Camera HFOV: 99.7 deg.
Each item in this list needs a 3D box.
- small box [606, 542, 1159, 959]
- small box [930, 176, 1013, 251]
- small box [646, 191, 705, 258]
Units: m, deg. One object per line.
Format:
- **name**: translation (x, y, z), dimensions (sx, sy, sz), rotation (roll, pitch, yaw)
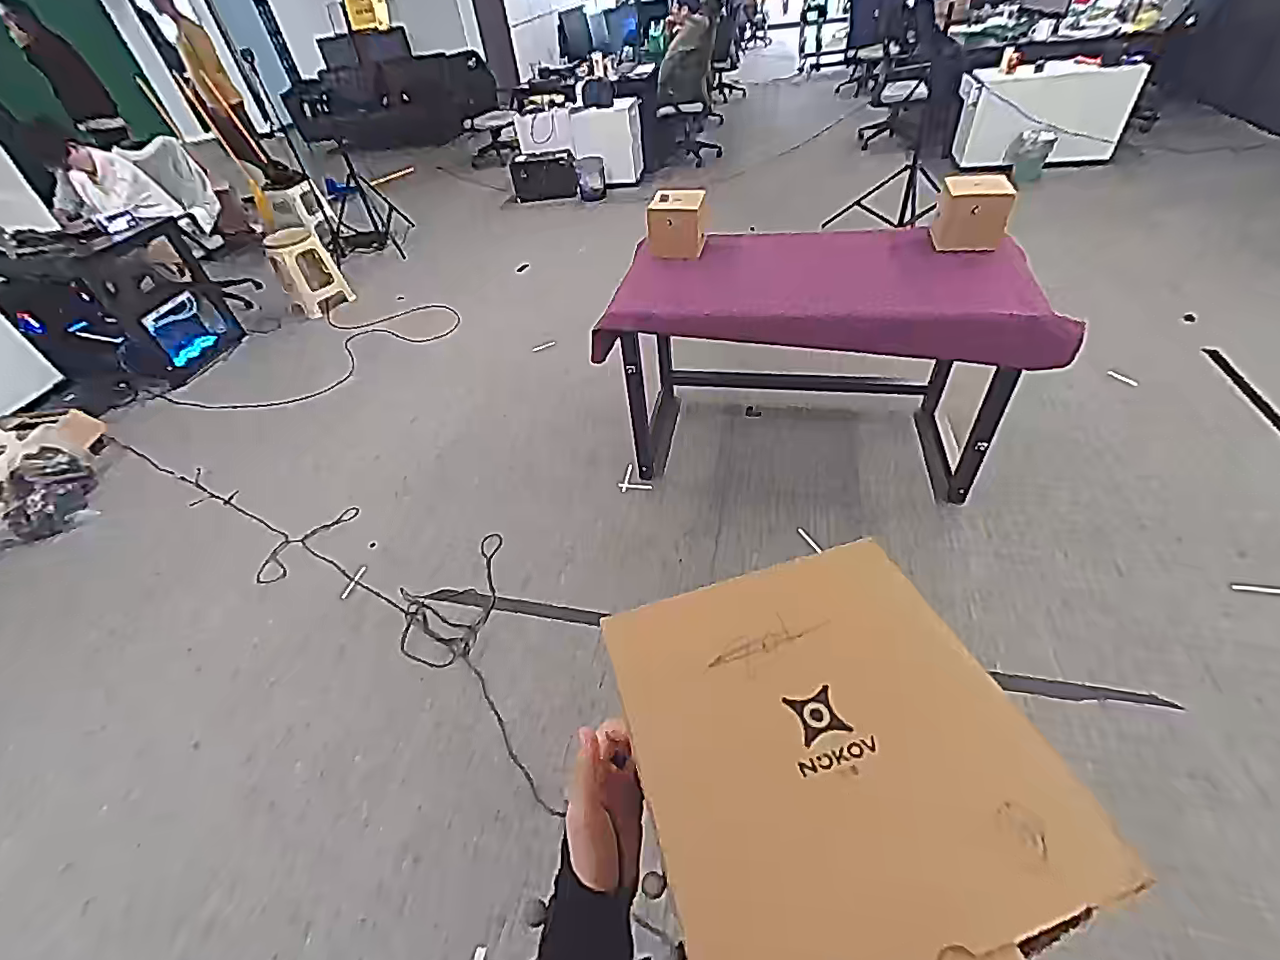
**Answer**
- **small box**: translation (0.090, 0.168, 0.291), dimensions (0.168, 0.176, 0.179), rotation (-15, 41, -9)
- **small box**: translation (1.030, -0.836, 1.700), dimensions (0.179, 0.176, 0.168), rotation (6, 47, 13)
- **small box**: translation (0.128, -0.892, 1.892), dimensions (0.179, 0.176, 0.168), rotation (7, 48, 14)
